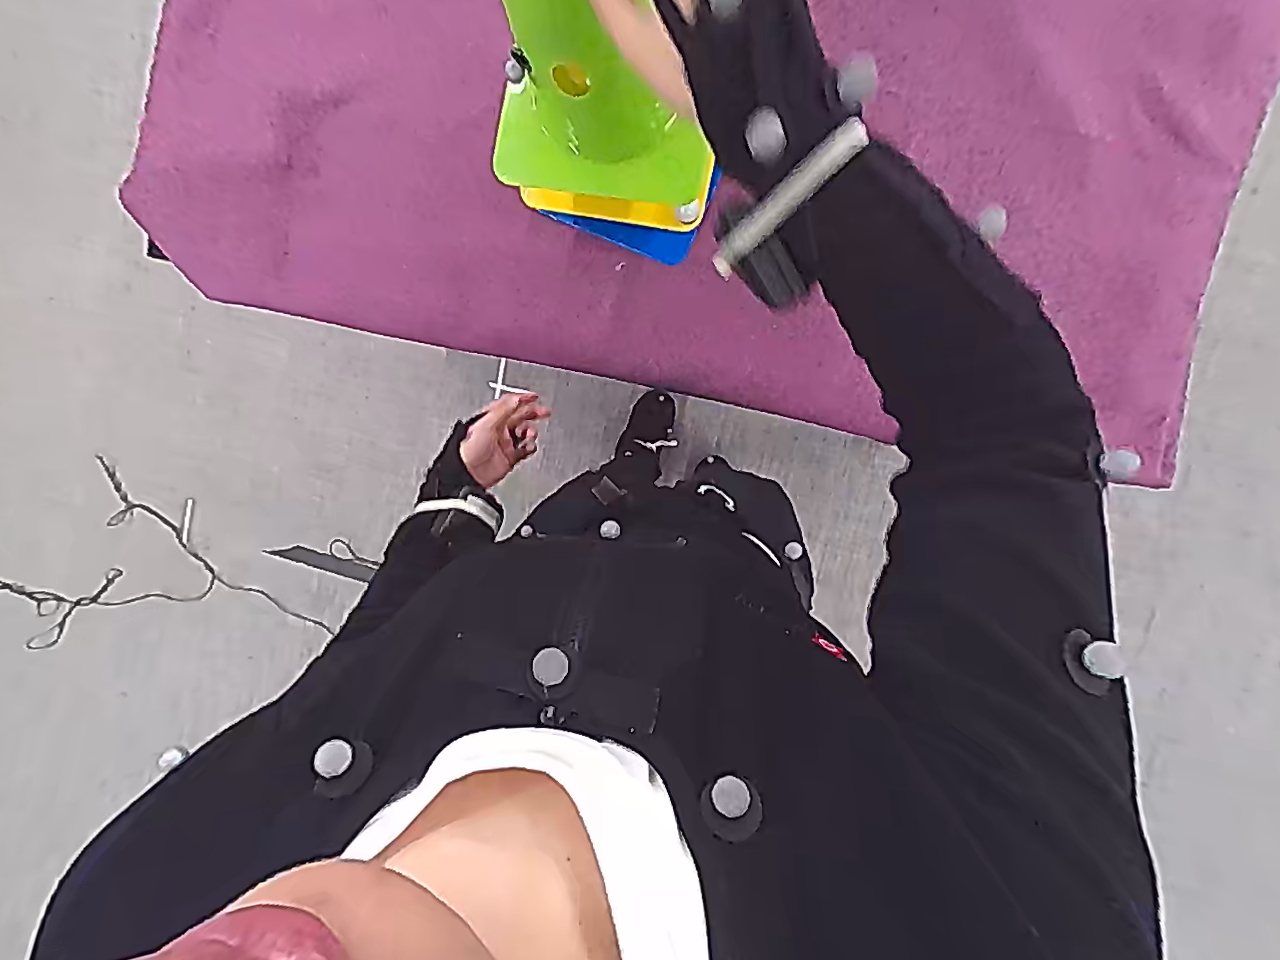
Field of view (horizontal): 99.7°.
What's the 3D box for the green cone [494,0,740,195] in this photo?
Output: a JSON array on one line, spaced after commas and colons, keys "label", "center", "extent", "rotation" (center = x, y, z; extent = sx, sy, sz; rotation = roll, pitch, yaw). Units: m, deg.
[{"label": "green cone", "center": [-0.056, -0.354, 0.306], "extent": [0.200, 0.368, 0.202], "rotation": [12, 94, 10]}]
